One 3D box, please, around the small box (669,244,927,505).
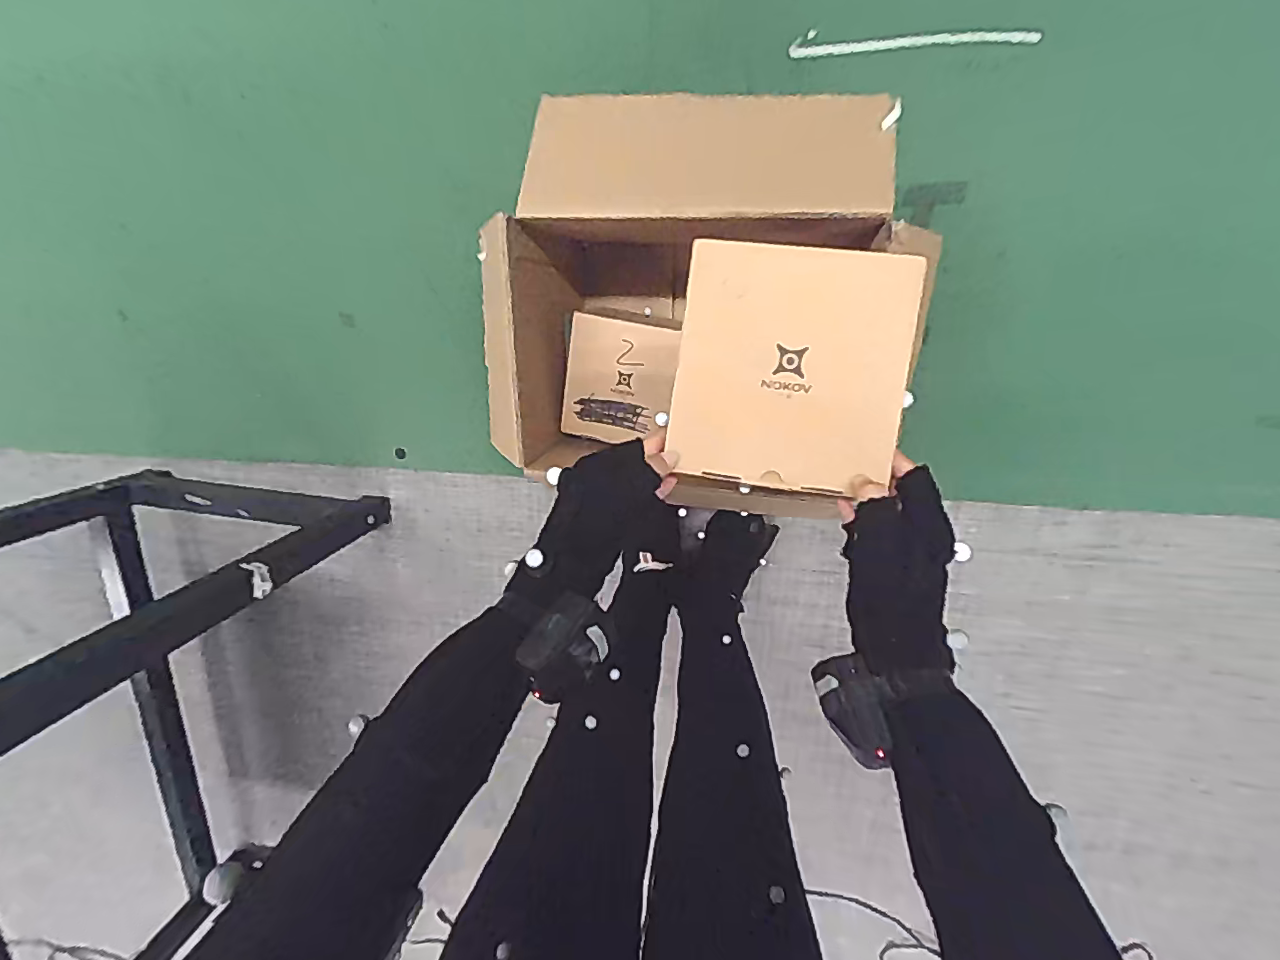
[{"bbox_3d":[0.124,-0.083,0.478,0.168,0.176,0.179,9,94,8],"label":"small box"}]
